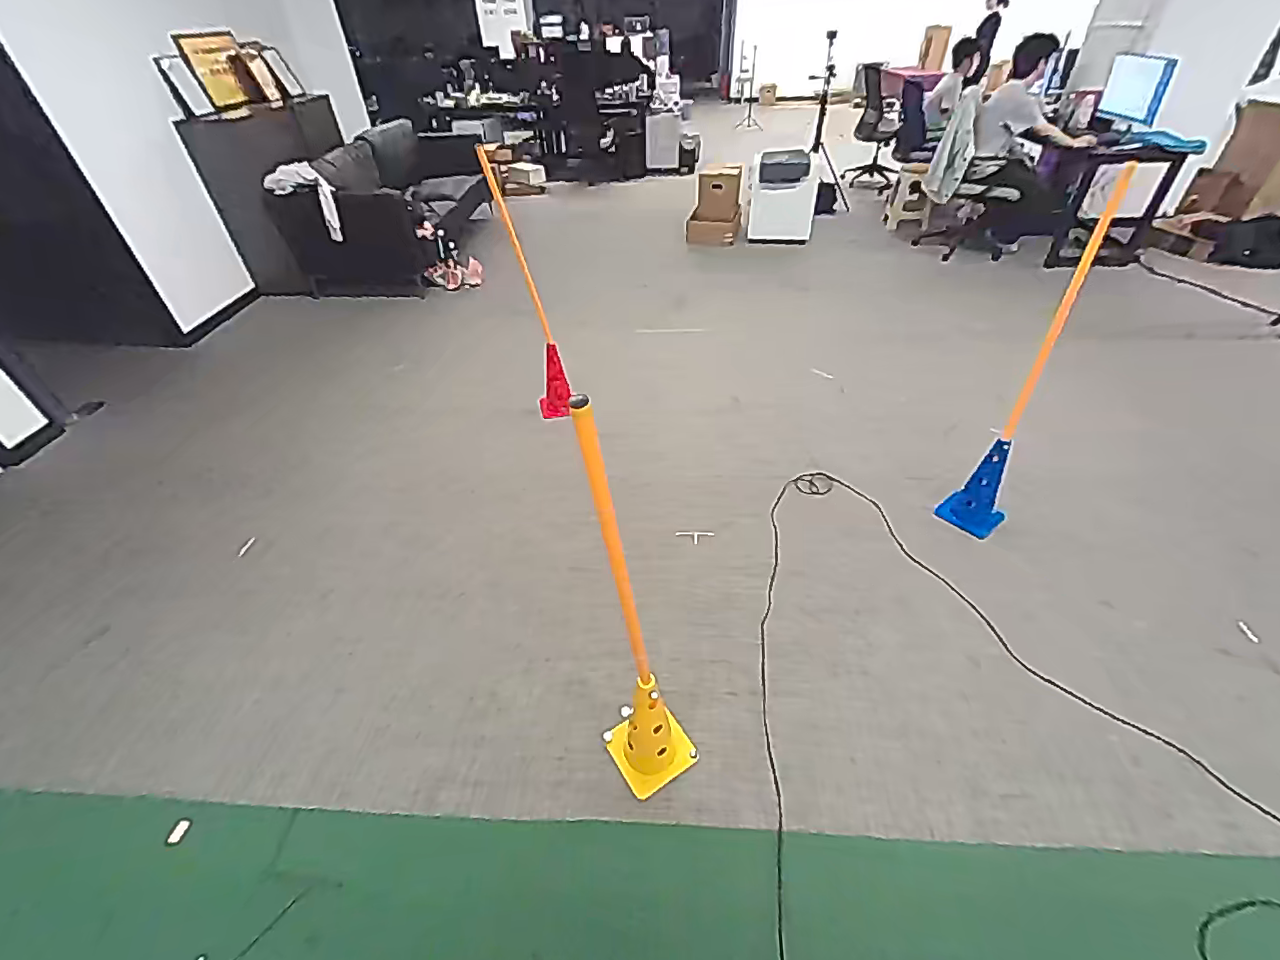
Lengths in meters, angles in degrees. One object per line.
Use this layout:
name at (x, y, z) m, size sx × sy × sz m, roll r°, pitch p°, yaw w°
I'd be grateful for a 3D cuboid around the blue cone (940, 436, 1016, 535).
blue cone at (1.278, -0.001, 1.991) m, size 0.193 × 0.380 × 0.192 m, roll -29°, pitch 46°, yaw -30°
